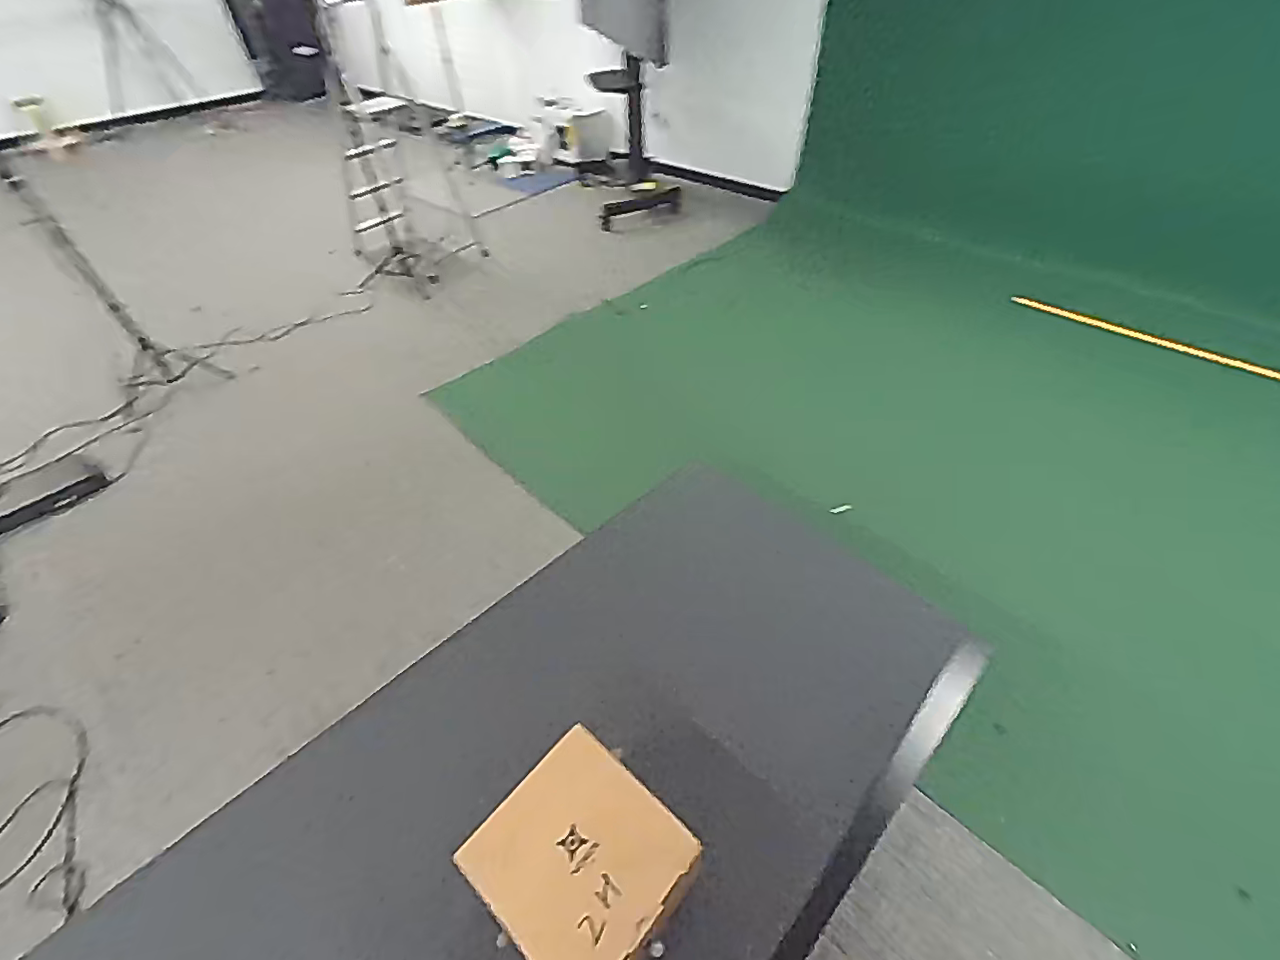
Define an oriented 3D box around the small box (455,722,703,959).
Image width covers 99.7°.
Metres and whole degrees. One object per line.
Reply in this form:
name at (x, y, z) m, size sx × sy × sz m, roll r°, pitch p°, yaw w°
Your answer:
small box at (-0.055, 0.399, 0.558) m, size 0.179 × 0.176 × 0.168 m, roll 31°, pitch 54°, yaw 29°
